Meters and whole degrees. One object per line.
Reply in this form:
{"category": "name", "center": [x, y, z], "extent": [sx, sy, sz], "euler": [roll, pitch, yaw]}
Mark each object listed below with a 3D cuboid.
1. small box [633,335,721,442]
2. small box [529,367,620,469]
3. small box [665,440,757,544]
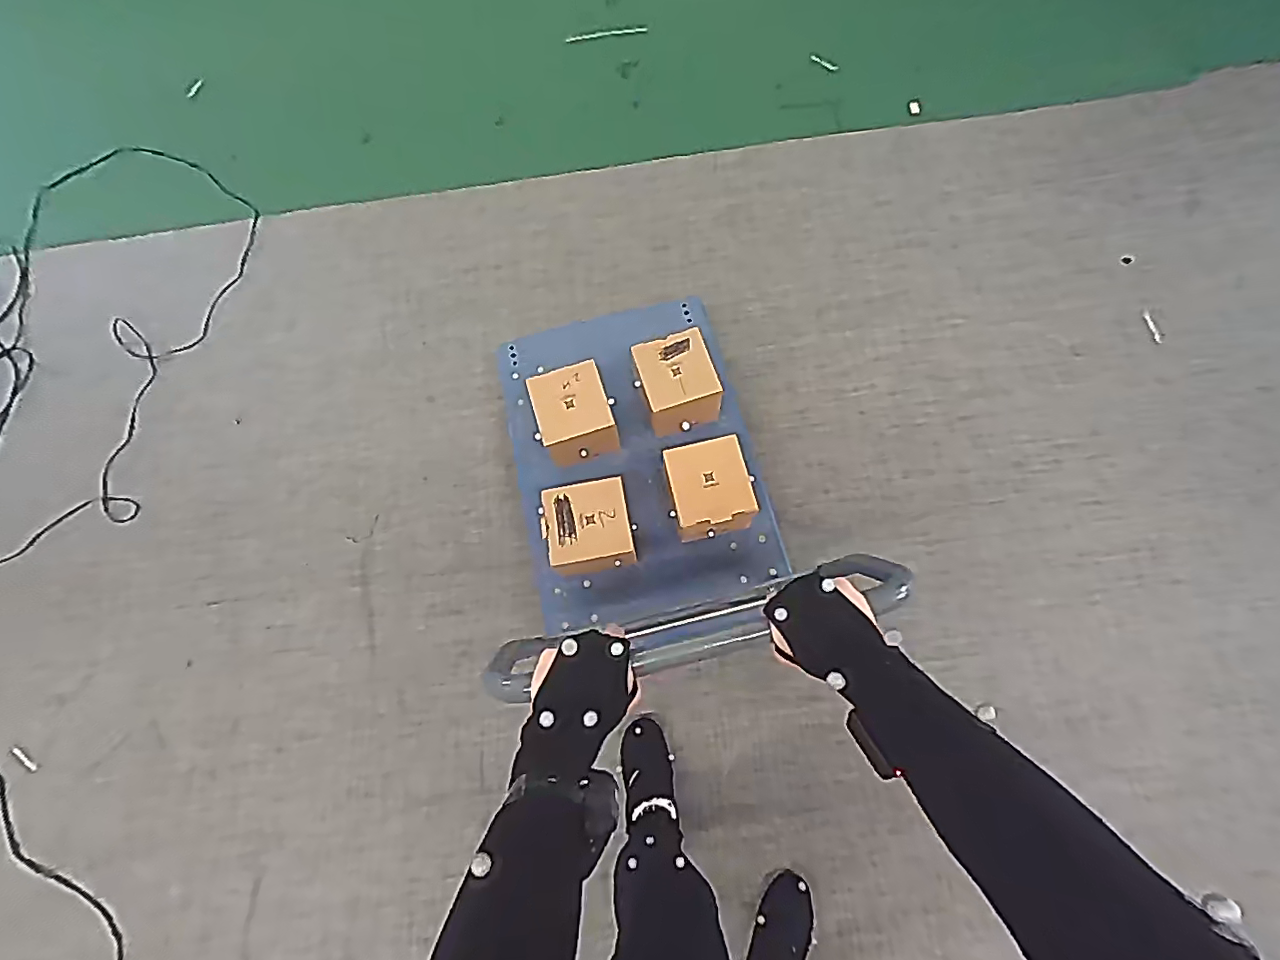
{"category": "small box", "center": [0.087, -0.218, 1.319], "extent": [0.168, 0.176, 0.179], "euler": [-18, 73, -1]}
{"category": "small box", "center": [-0.152, -0.140, 1.308], "extent": [0.168, 0.176, 0.179], "euler": [-17, 72, -3]}
{"category": "small box", "center": [0.152, 0.032, 1.236], "extent": [0.168, 0.176, 0.179], "euler": [-13, 72, -1]}
